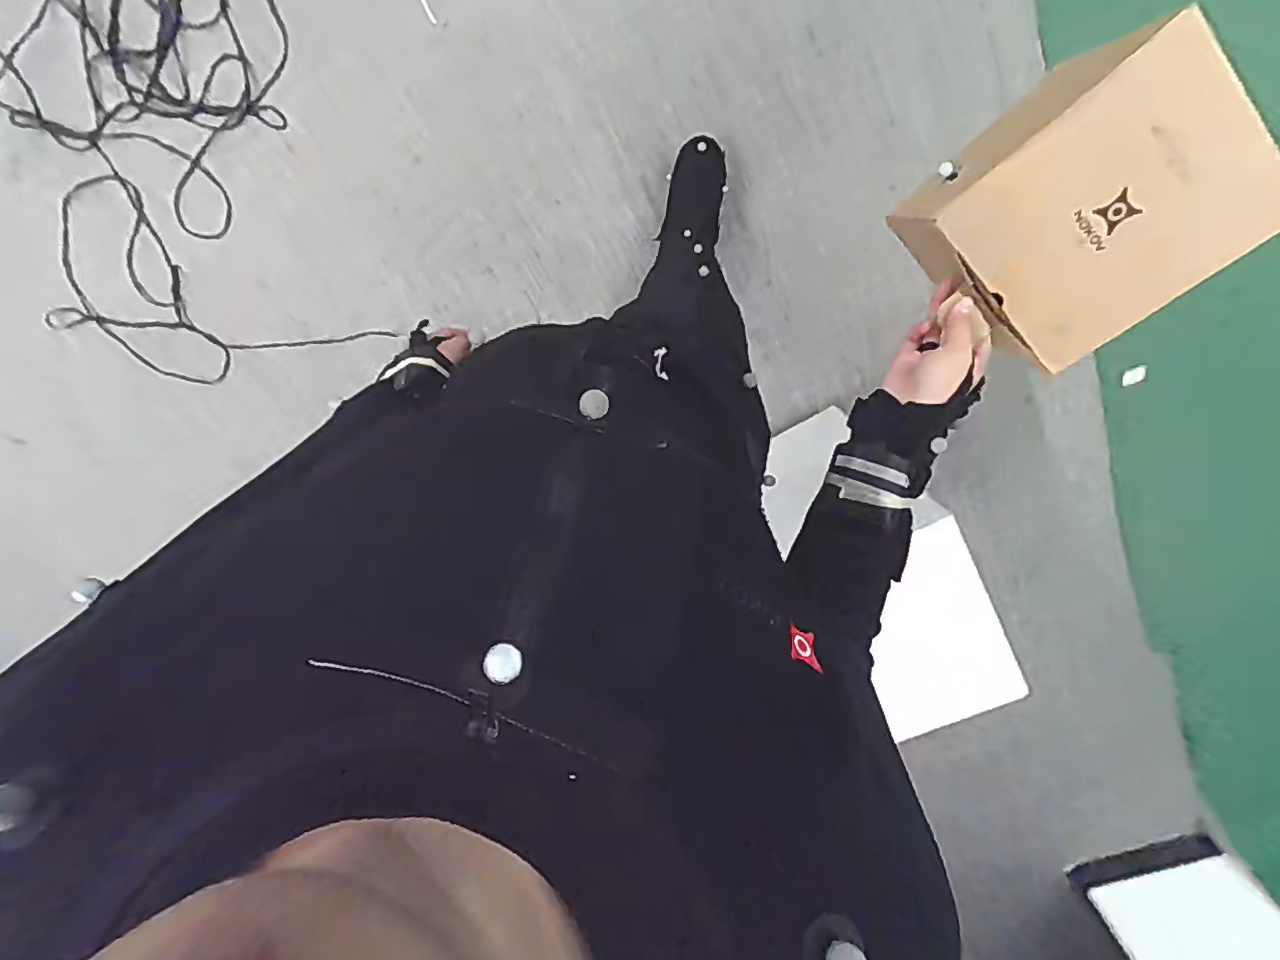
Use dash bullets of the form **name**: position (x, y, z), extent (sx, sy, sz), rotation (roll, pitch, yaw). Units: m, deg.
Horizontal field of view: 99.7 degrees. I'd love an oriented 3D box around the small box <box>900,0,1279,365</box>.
- **small box**: position (0.348, -0.230, 0.454), extent (0.168, 0.176, 0.179), rotation (43, 115, -12)
